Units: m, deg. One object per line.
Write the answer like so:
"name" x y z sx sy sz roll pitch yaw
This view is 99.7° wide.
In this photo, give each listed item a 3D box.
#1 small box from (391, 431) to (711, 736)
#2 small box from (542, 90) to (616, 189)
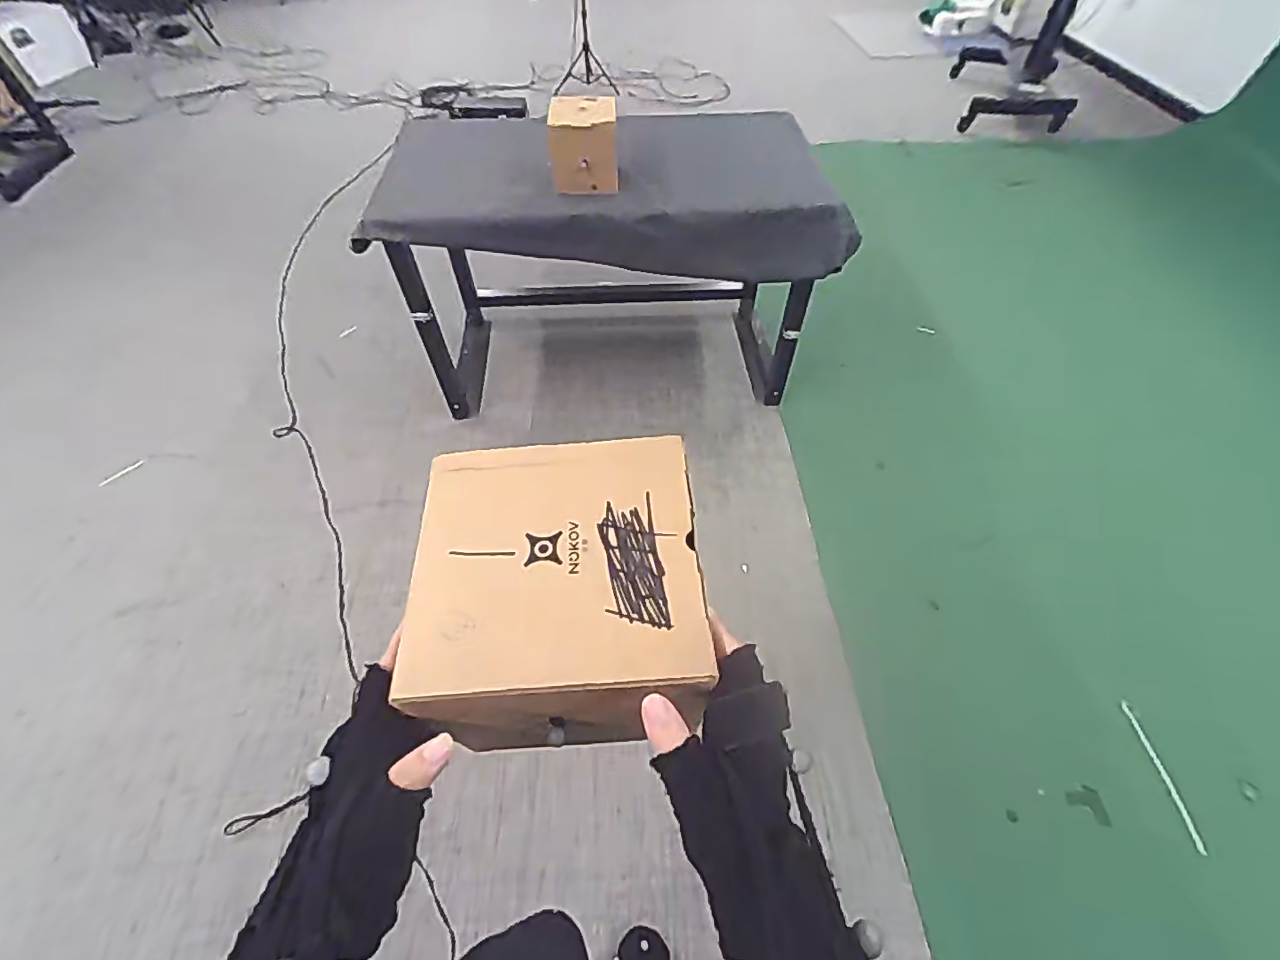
"small box" -0.050 0.084 0.400 0.179 0.176 0.168 -5 56 0
"small box" -0.150 -0.866 1.385 0.168 0.176 0.179 -3 54 0
